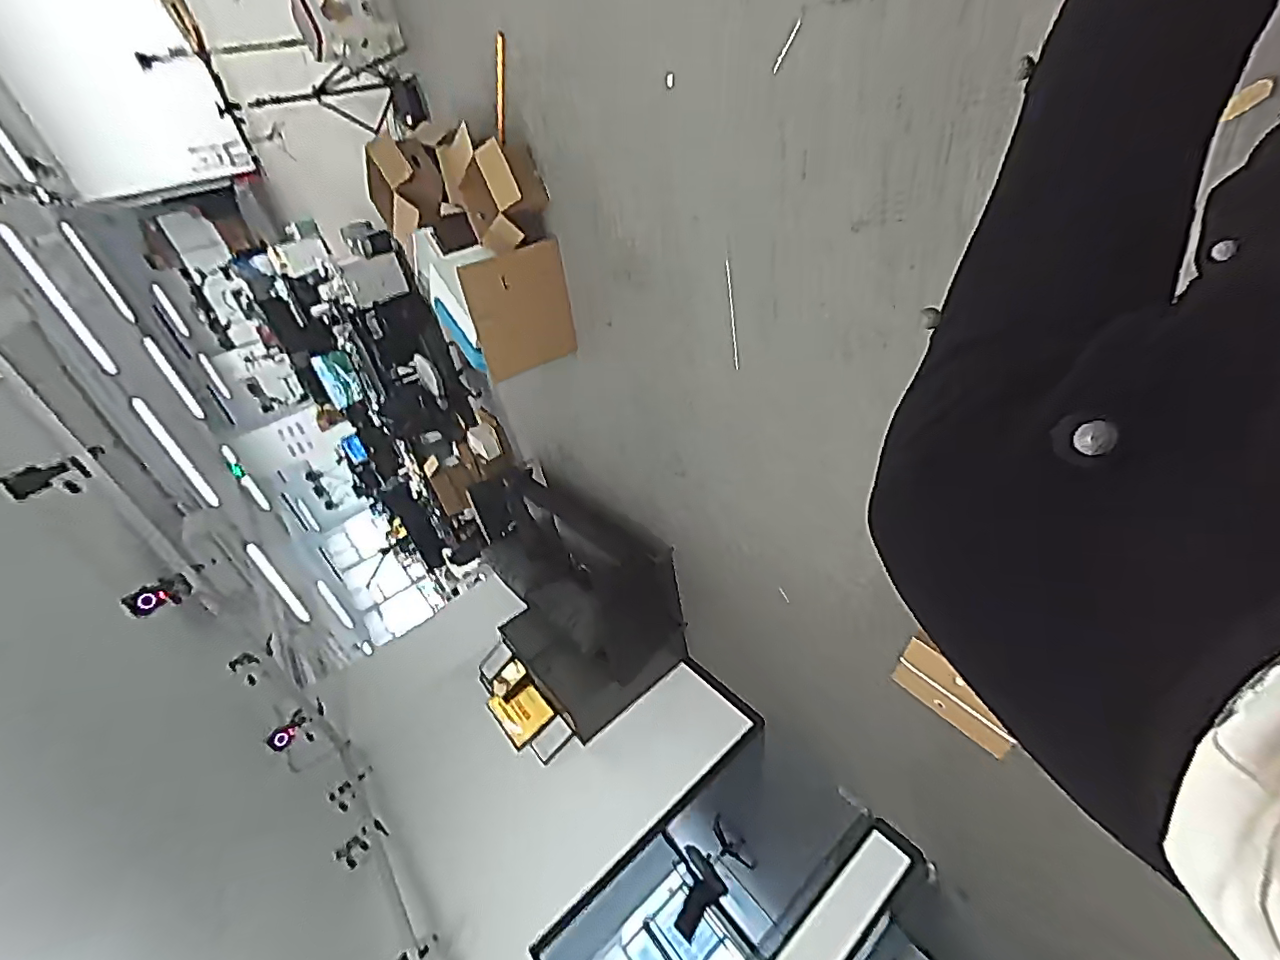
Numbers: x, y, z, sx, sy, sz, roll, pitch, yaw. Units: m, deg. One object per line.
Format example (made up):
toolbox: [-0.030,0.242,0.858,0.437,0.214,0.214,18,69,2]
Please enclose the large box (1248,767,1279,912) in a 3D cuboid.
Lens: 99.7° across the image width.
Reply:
large box: [1.798,0.952,1.262,0.320,0.320,0.408,60,153,-5]
